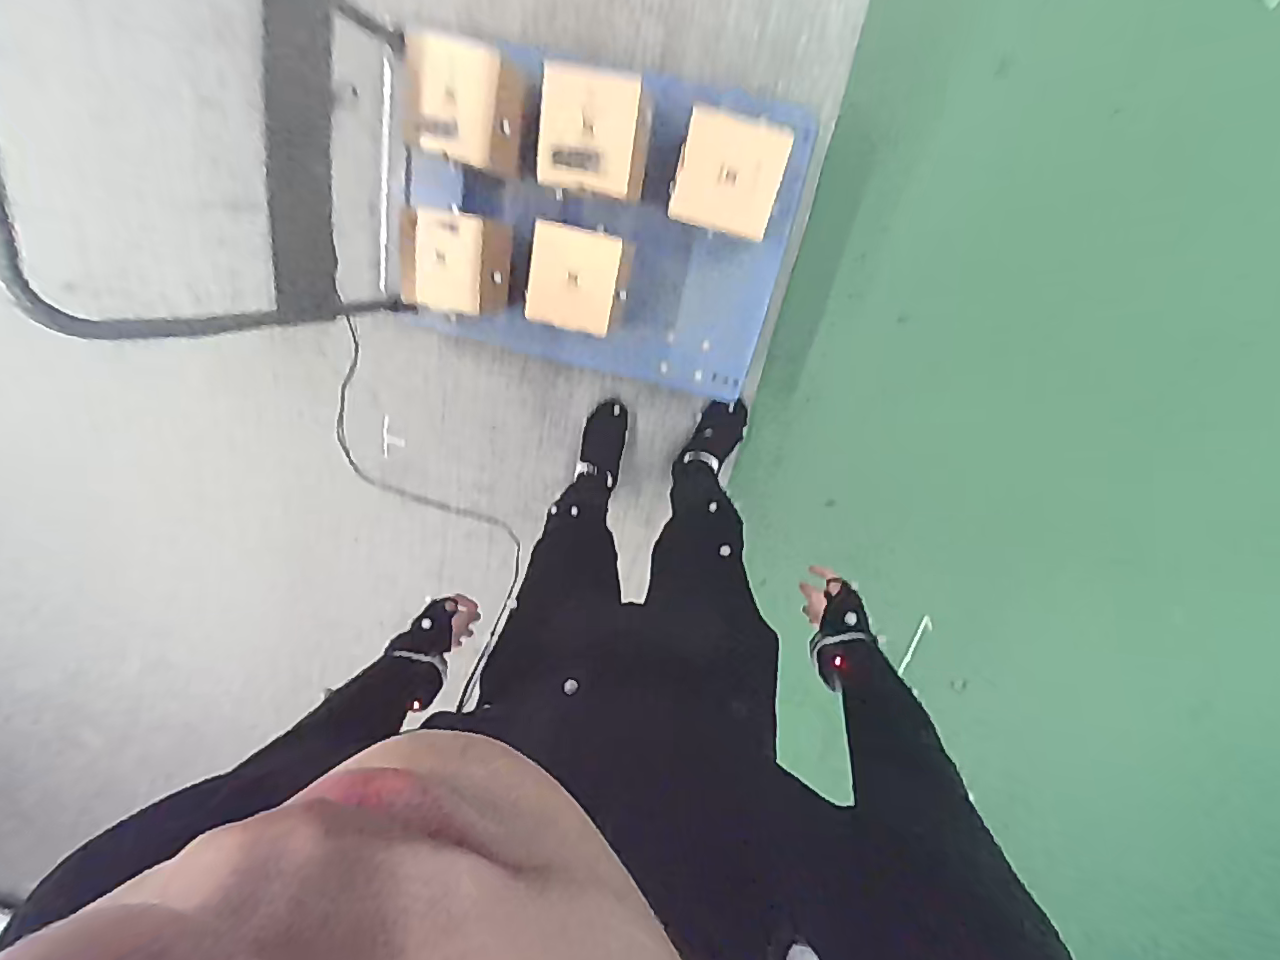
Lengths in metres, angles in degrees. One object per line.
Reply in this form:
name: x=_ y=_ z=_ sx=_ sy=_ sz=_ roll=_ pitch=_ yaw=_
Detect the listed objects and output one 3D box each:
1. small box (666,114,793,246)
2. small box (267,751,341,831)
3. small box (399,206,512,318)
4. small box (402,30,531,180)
small box: x=0.161 y=-0.538 z=0.994 sx=0.179 sy=0.176 sz=0.168 roll=17 pitch=114 yaw=2
small box: x=-1.283 y=1.188 z=2.071 sx=0.168 sy=0.176 sz=0.179 roll=24 pitch=111 yaw=-4
small box: x=-0.371 y=-0.443 z=1.105 sx=0.168 sy=0.176 sz=0.179 roll=12 pitch=113 yaw=3
small box: x=-0.316 y=-0.680 z=1.004 sx=0.168 sy=0.176 sz=0.179 roll=16 pitch=112 yaw=1
